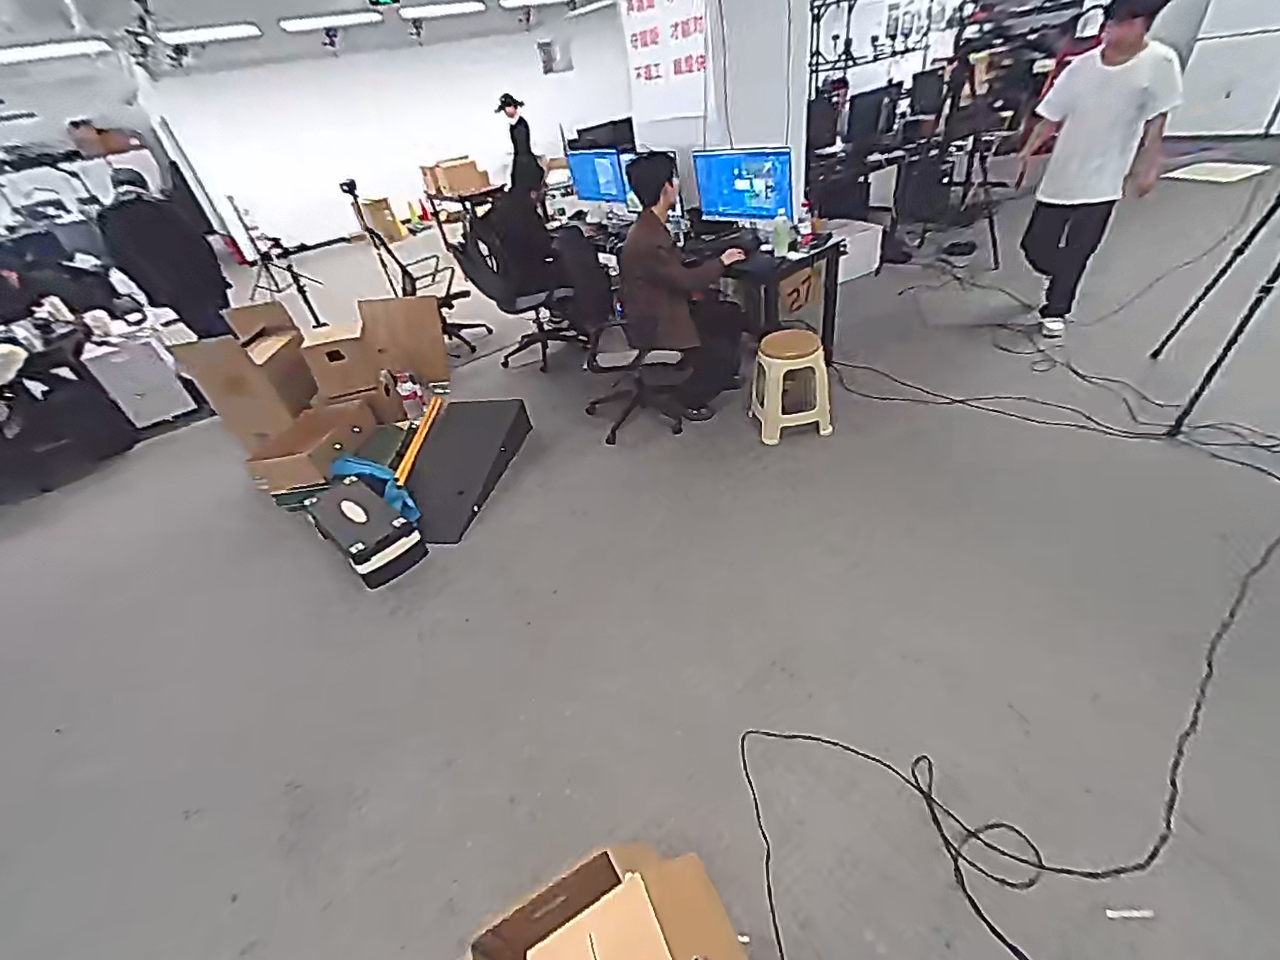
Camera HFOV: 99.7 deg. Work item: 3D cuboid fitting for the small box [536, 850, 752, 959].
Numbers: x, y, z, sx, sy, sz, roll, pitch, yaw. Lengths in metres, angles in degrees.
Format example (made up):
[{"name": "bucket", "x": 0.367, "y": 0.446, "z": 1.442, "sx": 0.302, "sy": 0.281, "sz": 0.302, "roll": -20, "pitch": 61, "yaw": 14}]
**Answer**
[{"name": "small box", "x": 0.018, "y": 0.557, "z": 0.610, "sx": 0.168, "sy": 0.176, "sz": 0.179, "roll": -38, "pitch": 53, "yaw": 7}]
